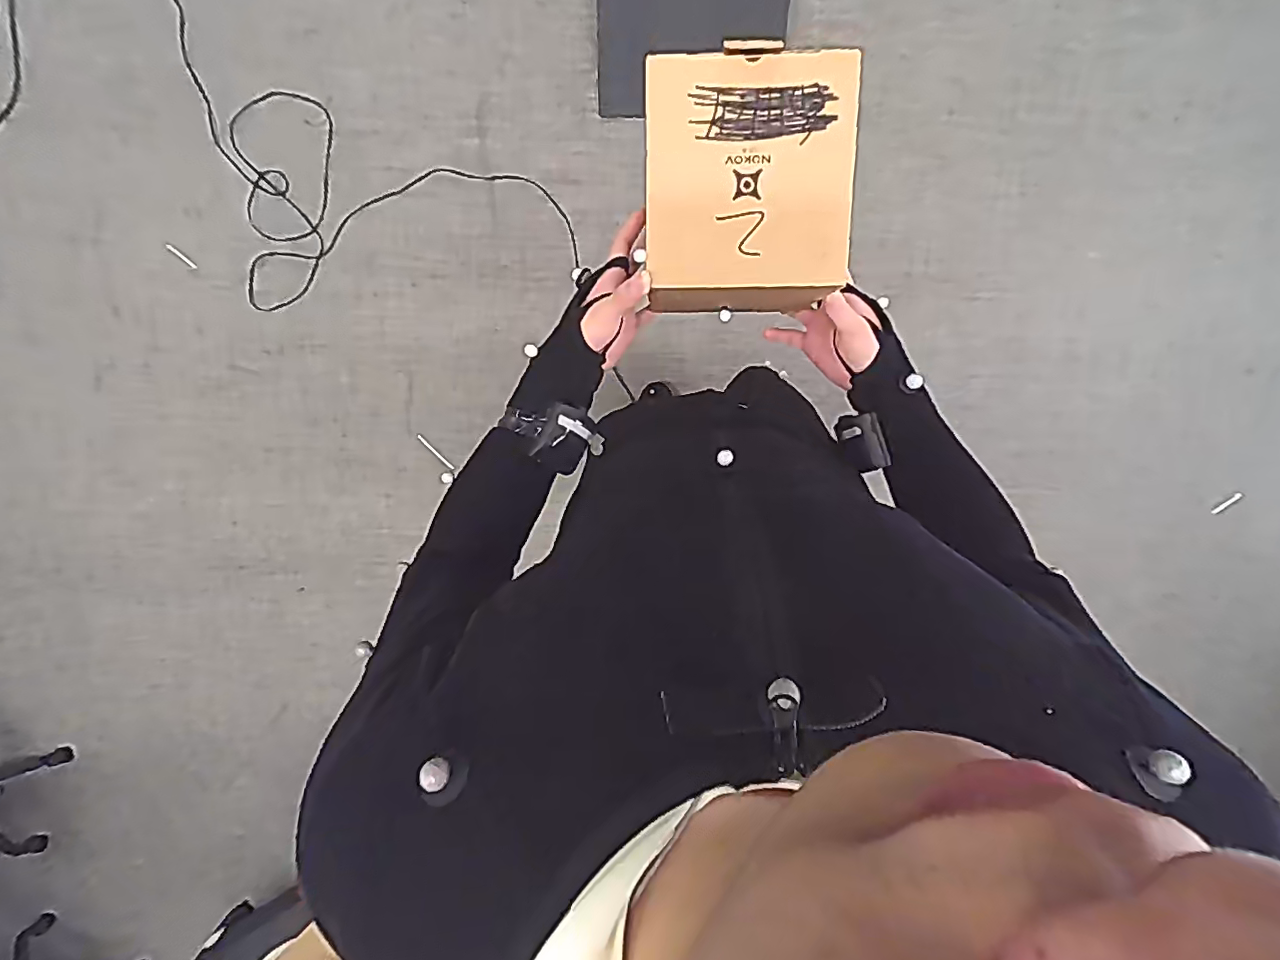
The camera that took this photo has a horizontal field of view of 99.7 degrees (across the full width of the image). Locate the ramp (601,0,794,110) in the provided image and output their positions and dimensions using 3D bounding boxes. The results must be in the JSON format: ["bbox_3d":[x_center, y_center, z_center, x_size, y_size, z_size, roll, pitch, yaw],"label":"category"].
[{"bbox_3d":[0.147,-1.456,1.267,0.509,0.206,0.991,-1,101,0],"label":"ramp"}]
